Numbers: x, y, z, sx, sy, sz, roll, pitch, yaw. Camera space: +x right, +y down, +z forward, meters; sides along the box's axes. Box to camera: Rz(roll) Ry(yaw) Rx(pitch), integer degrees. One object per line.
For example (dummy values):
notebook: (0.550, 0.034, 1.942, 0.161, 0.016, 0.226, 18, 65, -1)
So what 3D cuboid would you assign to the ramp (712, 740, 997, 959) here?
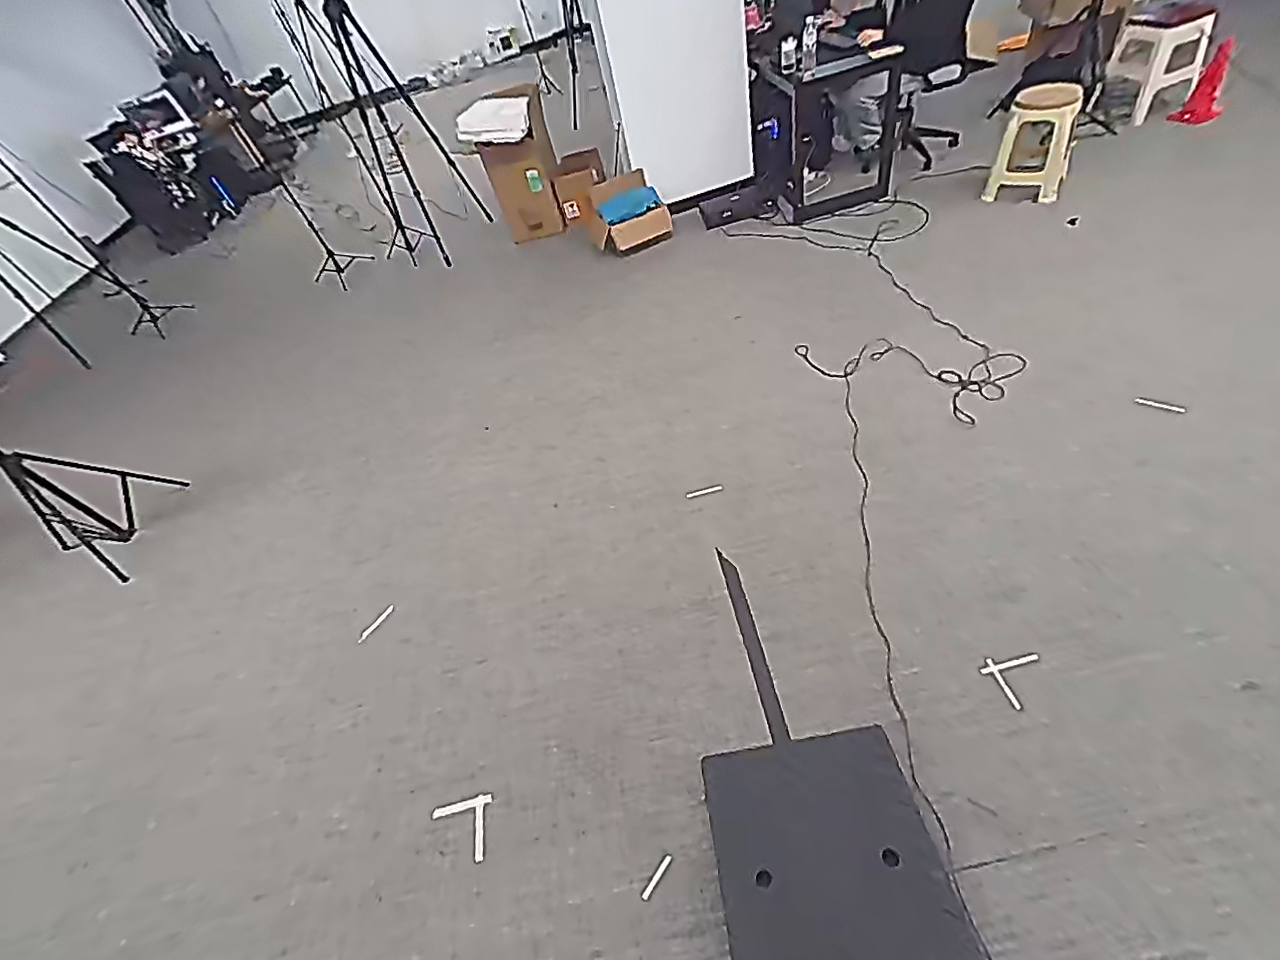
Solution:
ramp: (0.464, 1.027, 1.029, 0.509, 0.206, 0.991, -17, 44, 4)
